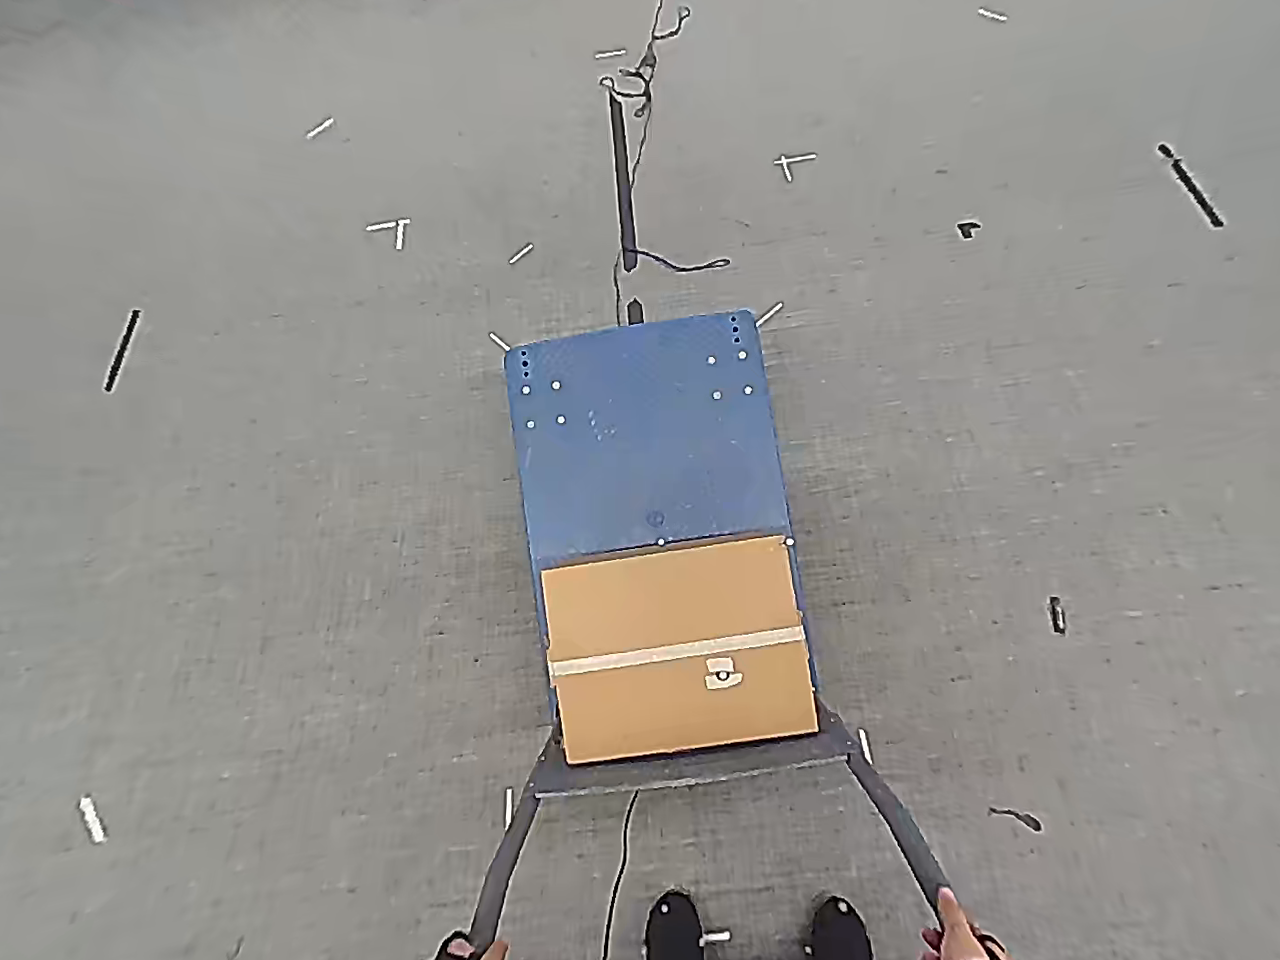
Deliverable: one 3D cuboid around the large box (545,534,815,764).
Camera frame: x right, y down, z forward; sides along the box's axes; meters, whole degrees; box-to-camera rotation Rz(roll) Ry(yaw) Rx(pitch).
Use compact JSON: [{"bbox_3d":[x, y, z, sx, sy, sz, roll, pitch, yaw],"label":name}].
[{"bbox_3d":[0.065,0.287,1.027,0.408,0.320,0.320,-10,86,1],"label":"large box"}]
